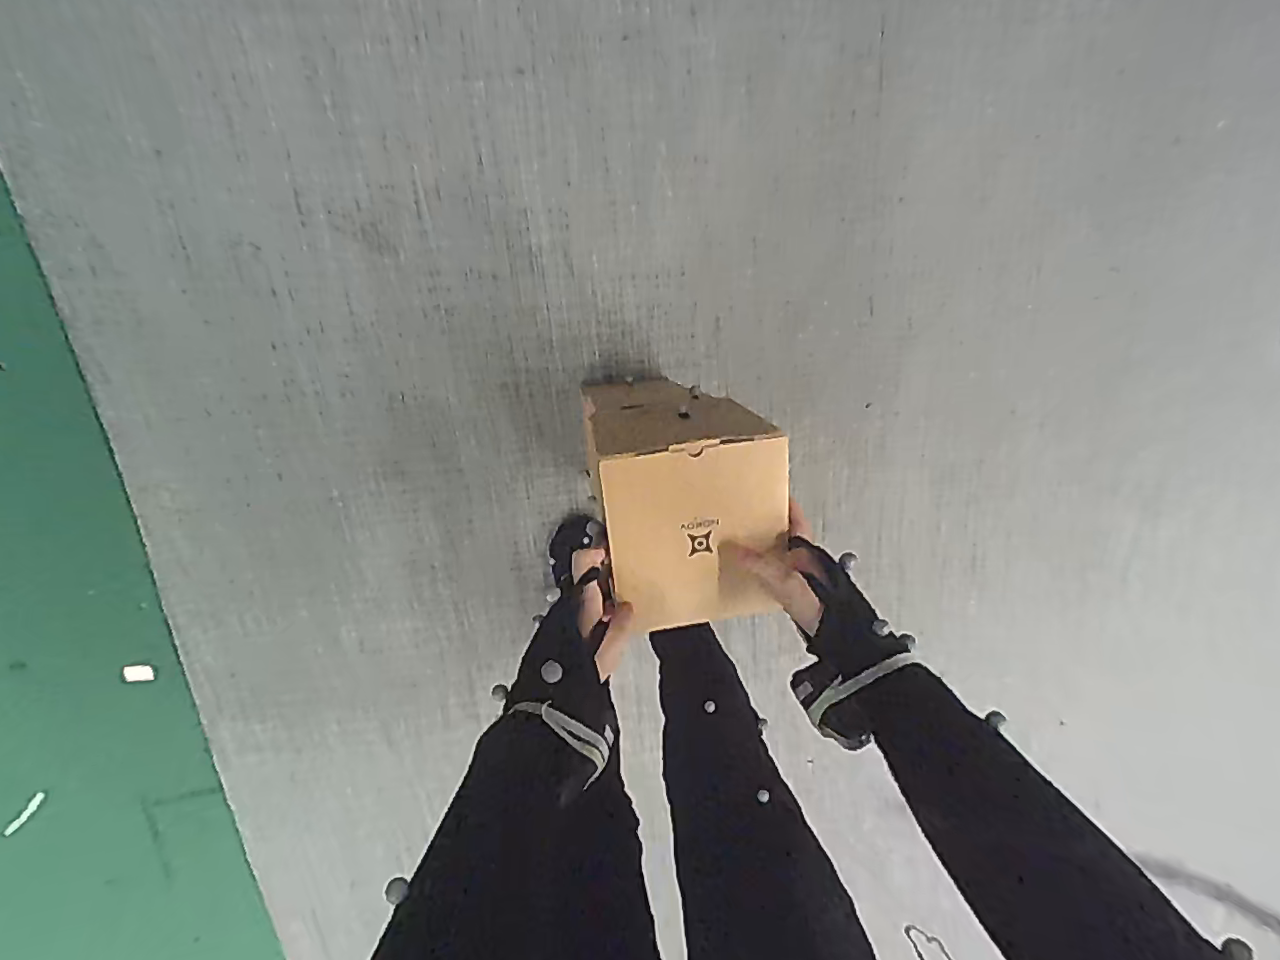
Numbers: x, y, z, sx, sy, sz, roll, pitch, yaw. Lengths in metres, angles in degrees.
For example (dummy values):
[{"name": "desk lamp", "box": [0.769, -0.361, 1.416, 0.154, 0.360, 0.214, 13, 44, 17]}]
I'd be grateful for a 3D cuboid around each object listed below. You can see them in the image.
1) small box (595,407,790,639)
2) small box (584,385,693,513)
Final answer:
[{"name": "small box", "box": [0.046, 0.033, 0.560, 0.168, 0.176, 0.179, -8, 109, -5]}, {"name": "small box", "box": [-0.005, -0.059, 0.916, 0.168, 0.176, 0.179, -6, 106, -7]}]
